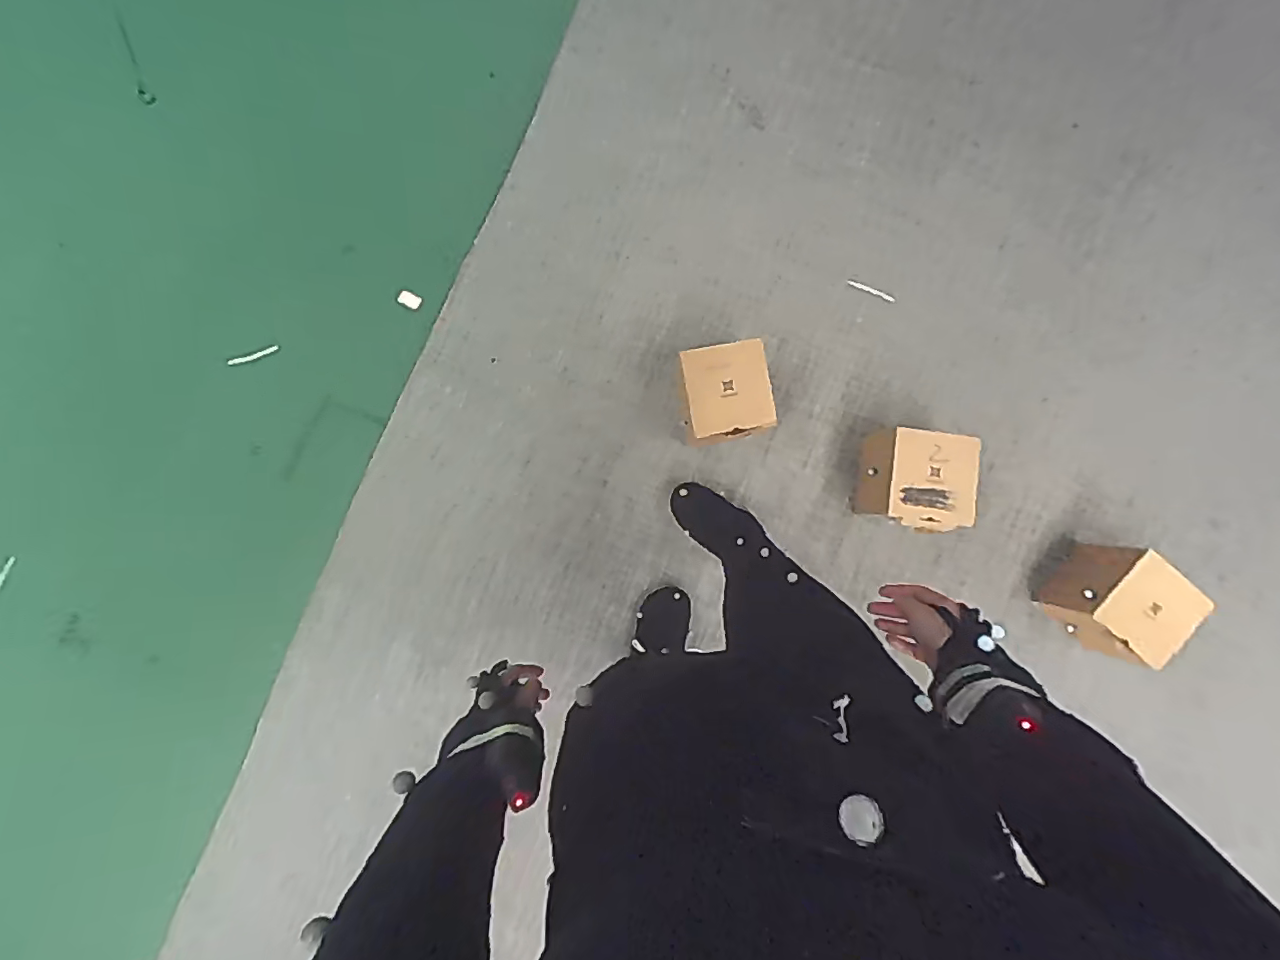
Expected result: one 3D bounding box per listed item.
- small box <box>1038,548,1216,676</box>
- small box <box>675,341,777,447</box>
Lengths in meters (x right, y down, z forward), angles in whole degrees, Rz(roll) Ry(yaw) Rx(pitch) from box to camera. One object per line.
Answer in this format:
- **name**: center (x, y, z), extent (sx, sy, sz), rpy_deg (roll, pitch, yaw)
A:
- **small box**: center (0.975, 0.256, 1.100), extent (0.168, 0.176, 0.179), rpy_deg (42, 89, 1)
- **small box**: center (0.172, -0.169, 1.121), extent (0.168, 0.176, 0.179), rpy_deg (-10, 87, -1)
